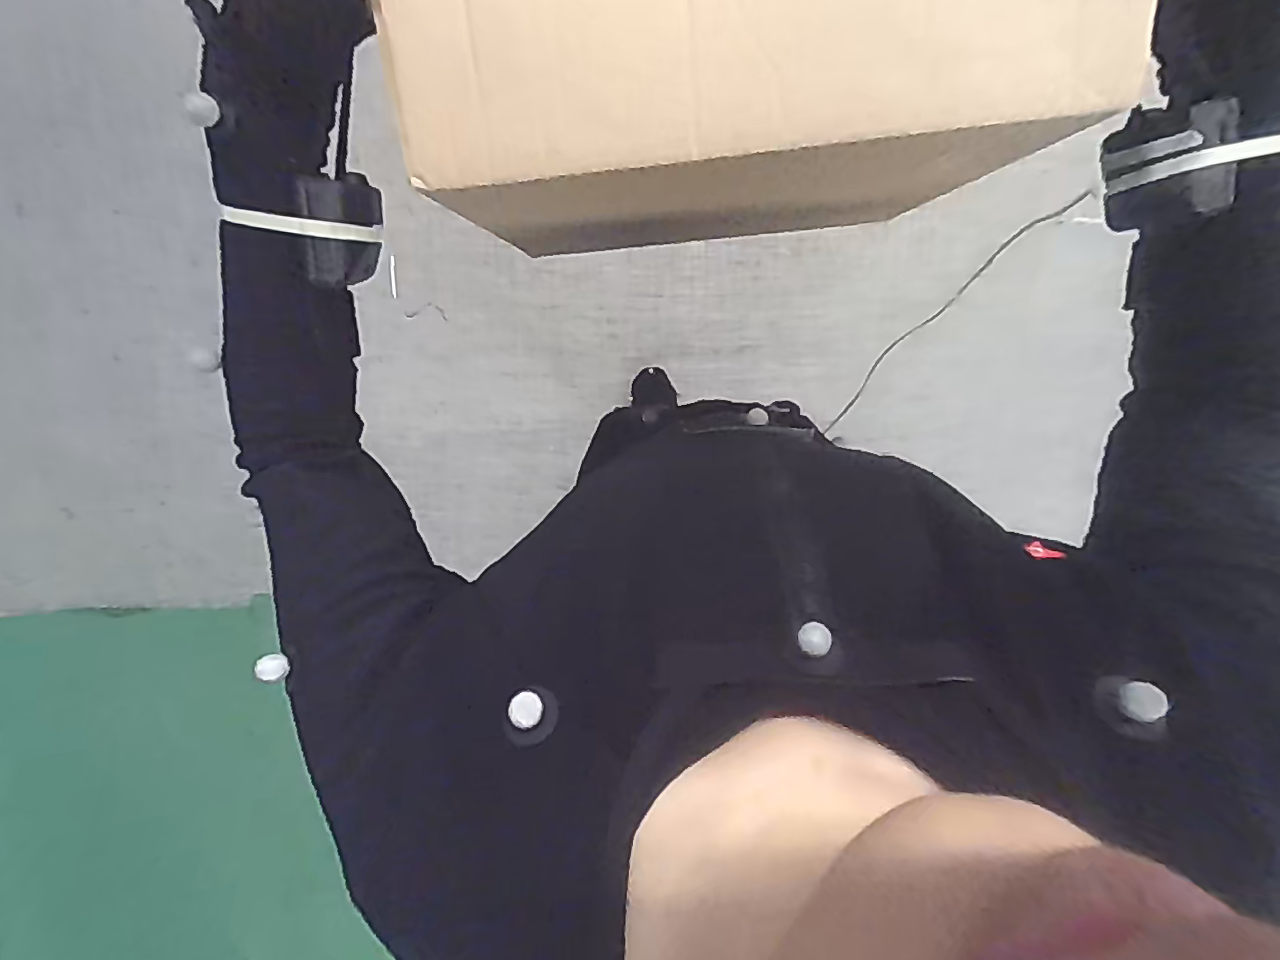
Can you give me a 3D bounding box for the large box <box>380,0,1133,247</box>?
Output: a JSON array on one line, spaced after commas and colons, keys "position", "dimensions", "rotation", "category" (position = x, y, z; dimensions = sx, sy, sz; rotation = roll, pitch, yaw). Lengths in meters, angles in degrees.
[{"position": [0.050, -0.381, 0.404], "dimensions": [0.408, 0.320, 0.320], "rotation": [-6, 107, 2], "category": "large box"}]
